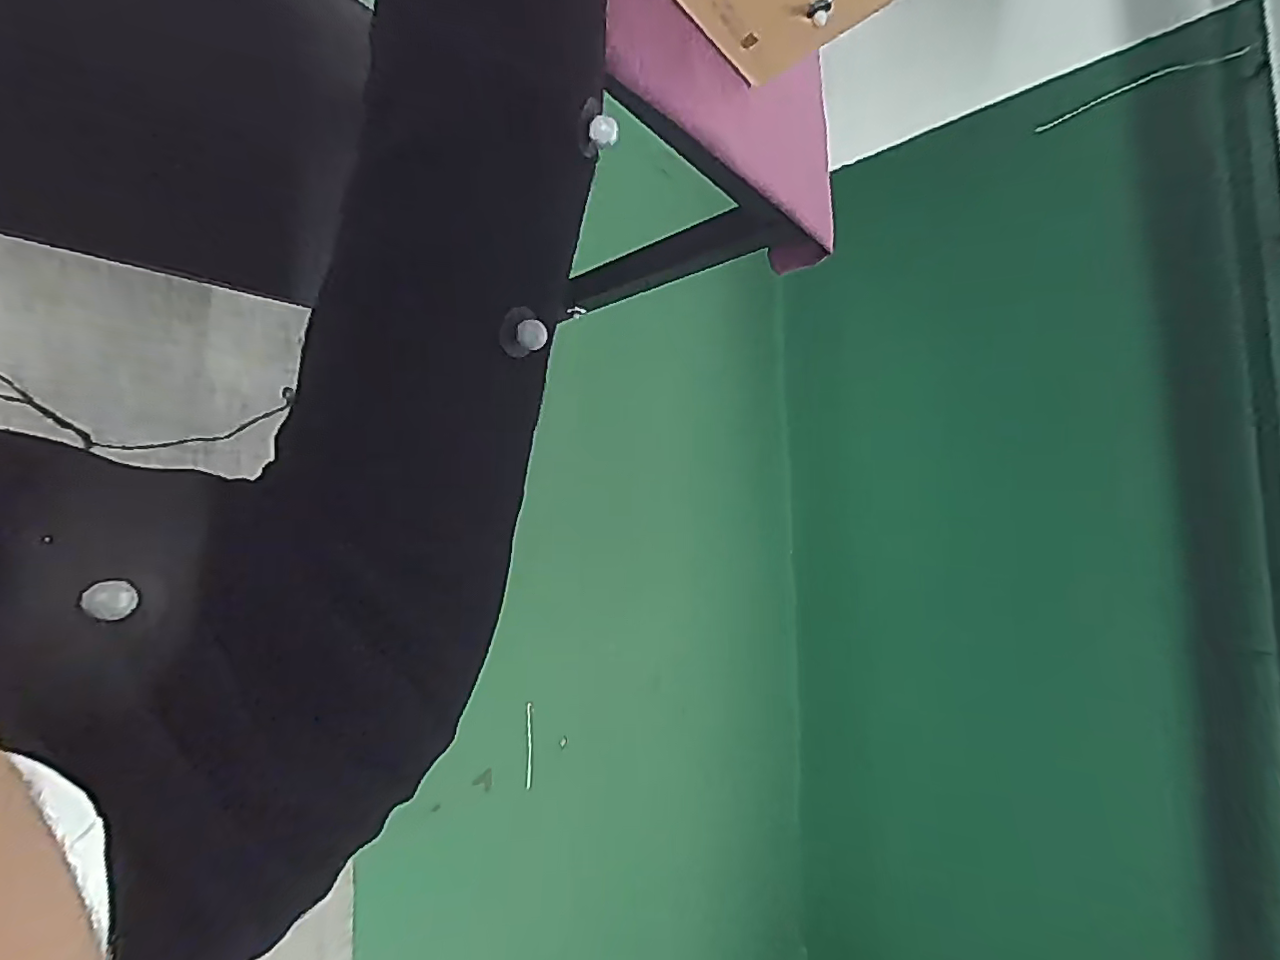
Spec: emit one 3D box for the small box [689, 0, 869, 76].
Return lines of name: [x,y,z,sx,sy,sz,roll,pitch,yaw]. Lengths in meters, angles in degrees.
small box: [0.119,-0.502,0.456,0.168,0.176,0.179,-2,86,-51]
